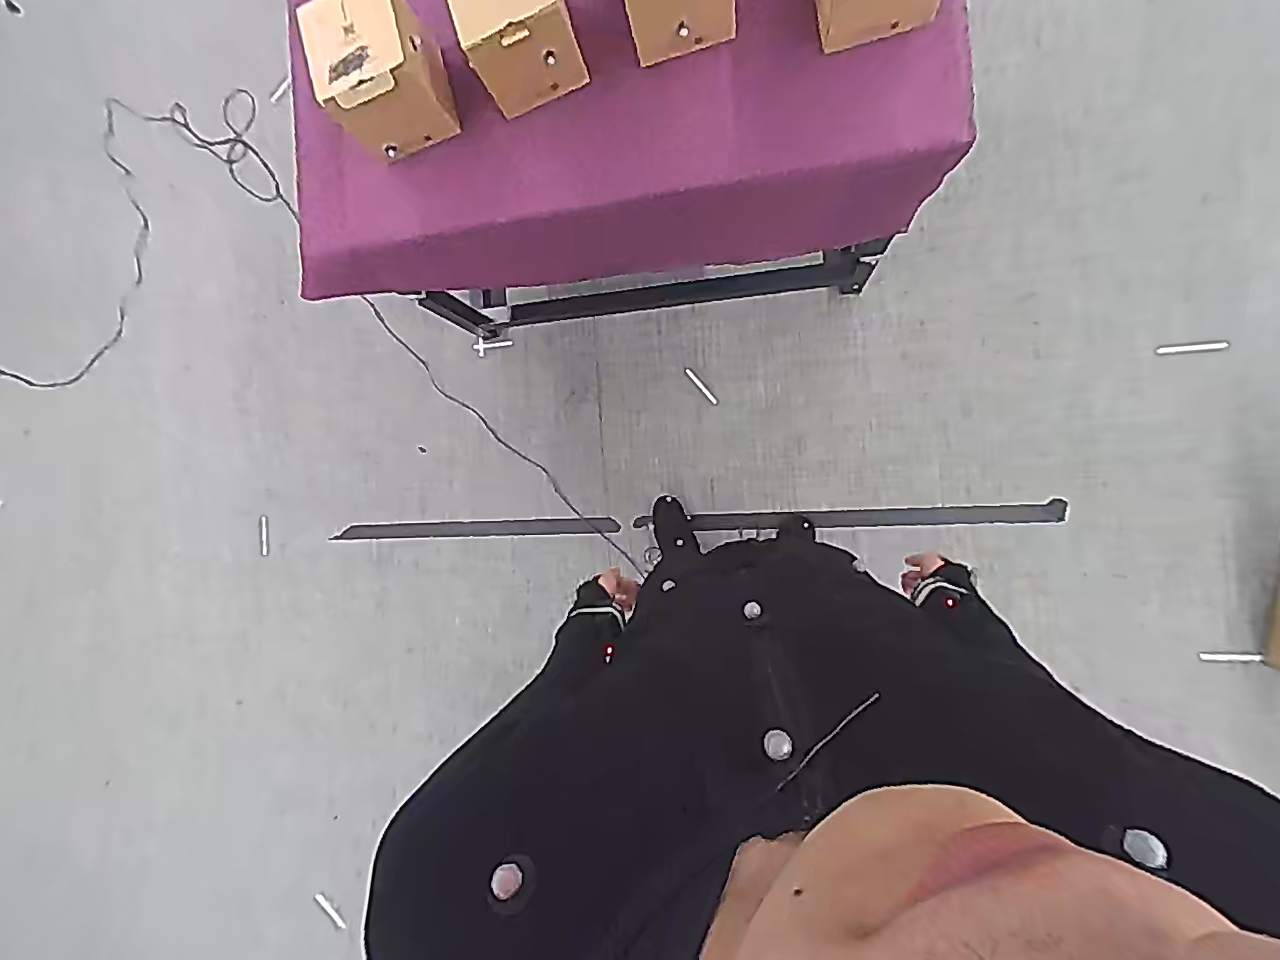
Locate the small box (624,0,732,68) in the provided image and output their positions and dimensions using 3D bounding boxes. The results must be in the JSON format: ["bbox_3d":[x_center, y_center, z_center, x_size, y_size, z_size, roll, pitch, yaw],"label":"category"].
[{"bbox_3d":[0.051,-0.814,0.854,0.168,0.176,0.179,-9,88,11],"label":"small box"}]

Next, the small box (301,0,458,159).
[{"bbox_3d":[-0.445,-0.703,0.949,0.168,0.176,0.179,-16,86,10],"label":"small box"}]

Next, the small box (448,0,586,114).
[{"bbox_3d":[-0.204,-0.759,0.905,0.168,0.176,0.179,-17,86,10],"label":"small box"}]
